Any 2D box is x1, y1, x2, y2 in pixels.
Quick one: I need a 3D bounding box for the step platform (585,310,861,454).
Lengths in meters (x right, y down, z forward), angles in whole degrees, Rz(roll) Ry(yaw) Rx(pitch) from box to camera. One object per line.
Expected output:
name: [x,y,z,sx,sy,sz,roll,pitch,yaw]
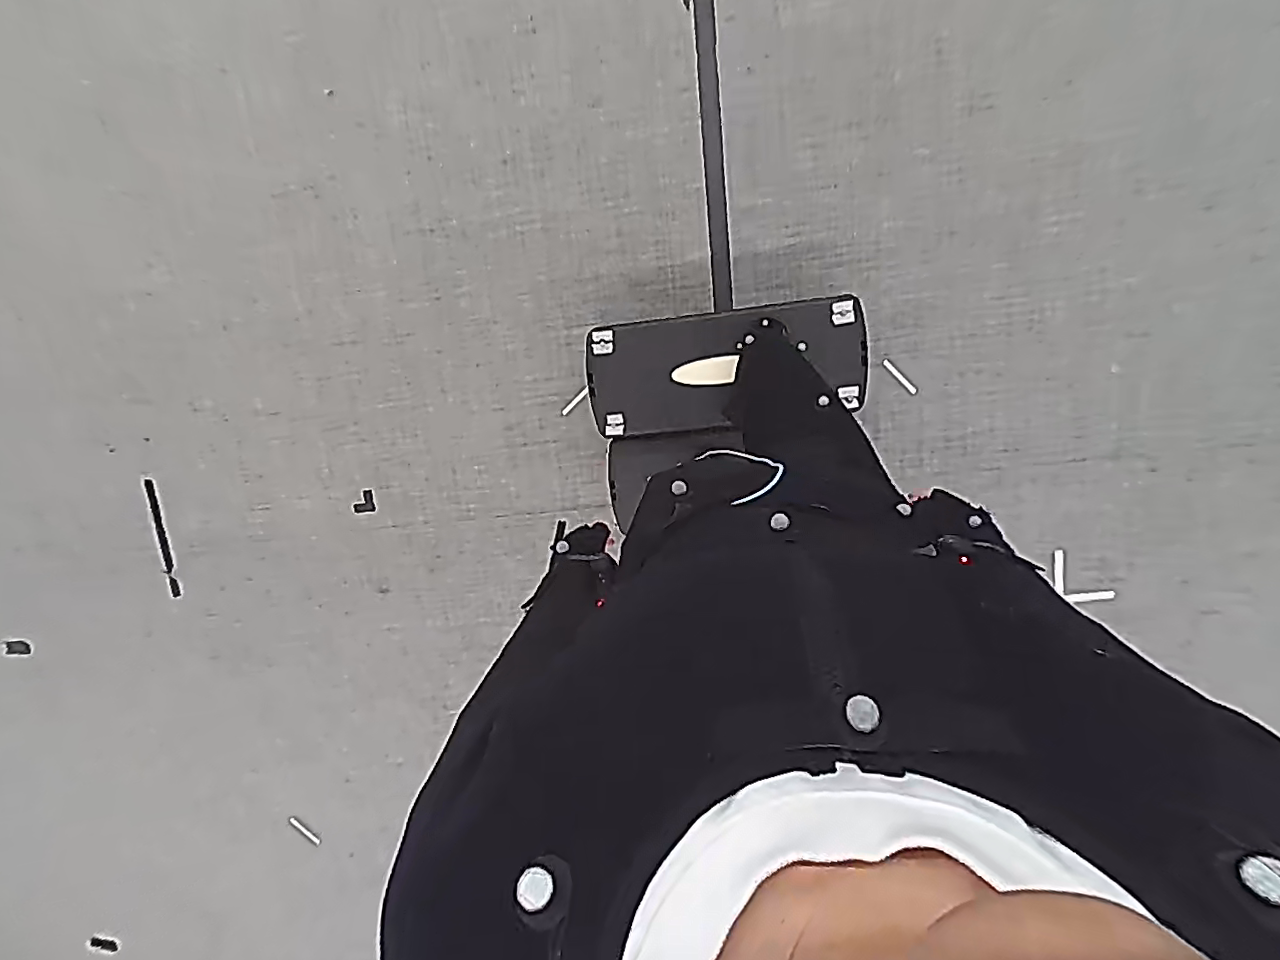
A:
step platform: [0.201,-0.246,1.392,0.684,0.204,0.286,-7,101,7]
